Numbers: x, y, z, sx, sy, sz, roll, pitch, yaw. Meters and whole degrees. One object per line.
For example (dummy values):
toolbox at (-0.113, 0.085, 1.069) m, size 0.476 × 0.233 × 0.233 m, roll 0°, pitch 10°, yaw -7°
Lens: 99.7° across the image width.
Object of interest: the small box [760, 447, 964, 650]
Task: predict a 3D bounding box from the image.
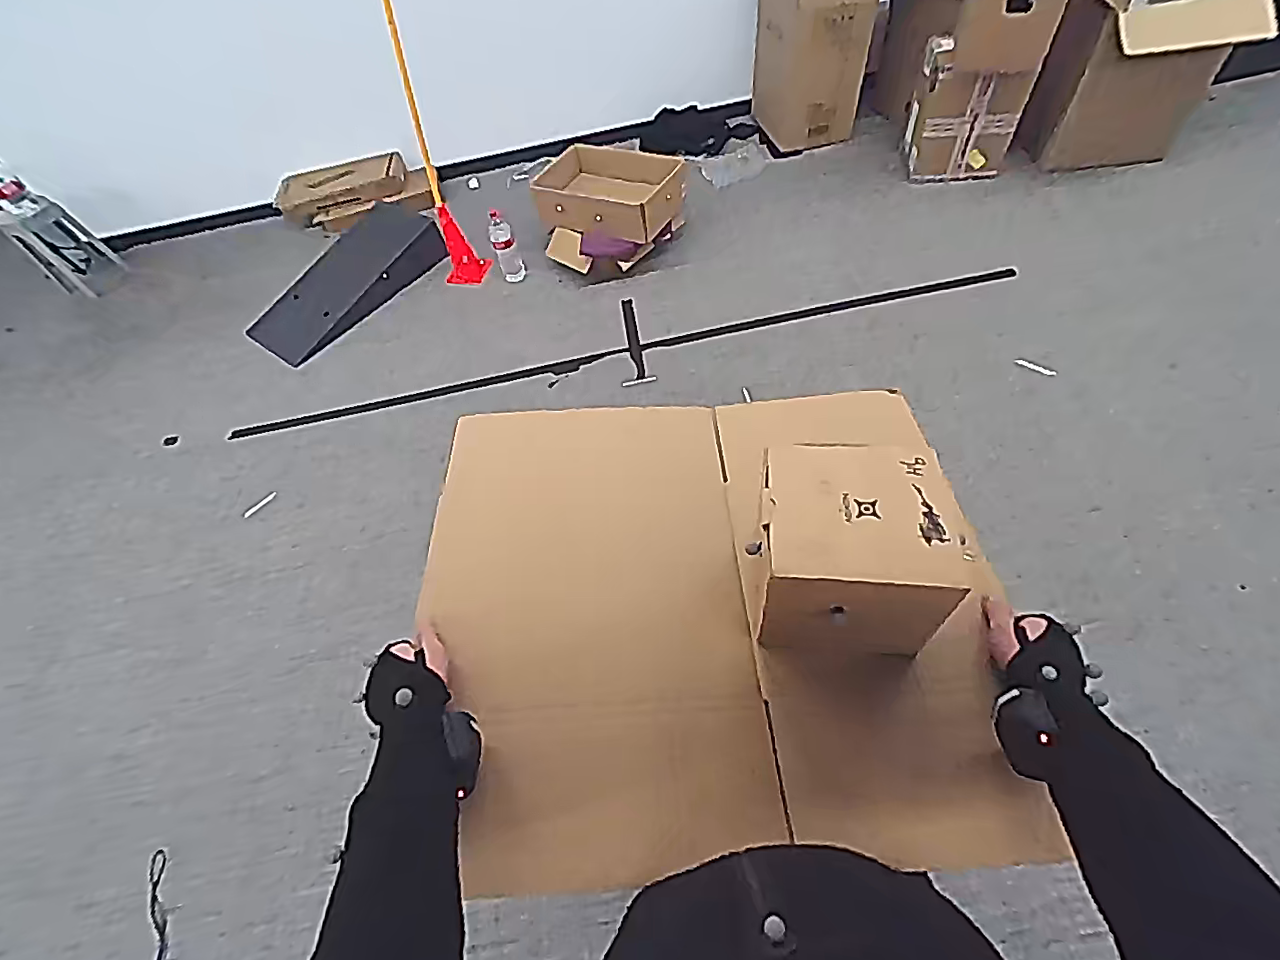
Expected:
small box at (0.226, 0.080, 0.606) m, size 0.179 × 0.176 × 0.168 m, roll 1°, pitch 53°, yaw 10°
